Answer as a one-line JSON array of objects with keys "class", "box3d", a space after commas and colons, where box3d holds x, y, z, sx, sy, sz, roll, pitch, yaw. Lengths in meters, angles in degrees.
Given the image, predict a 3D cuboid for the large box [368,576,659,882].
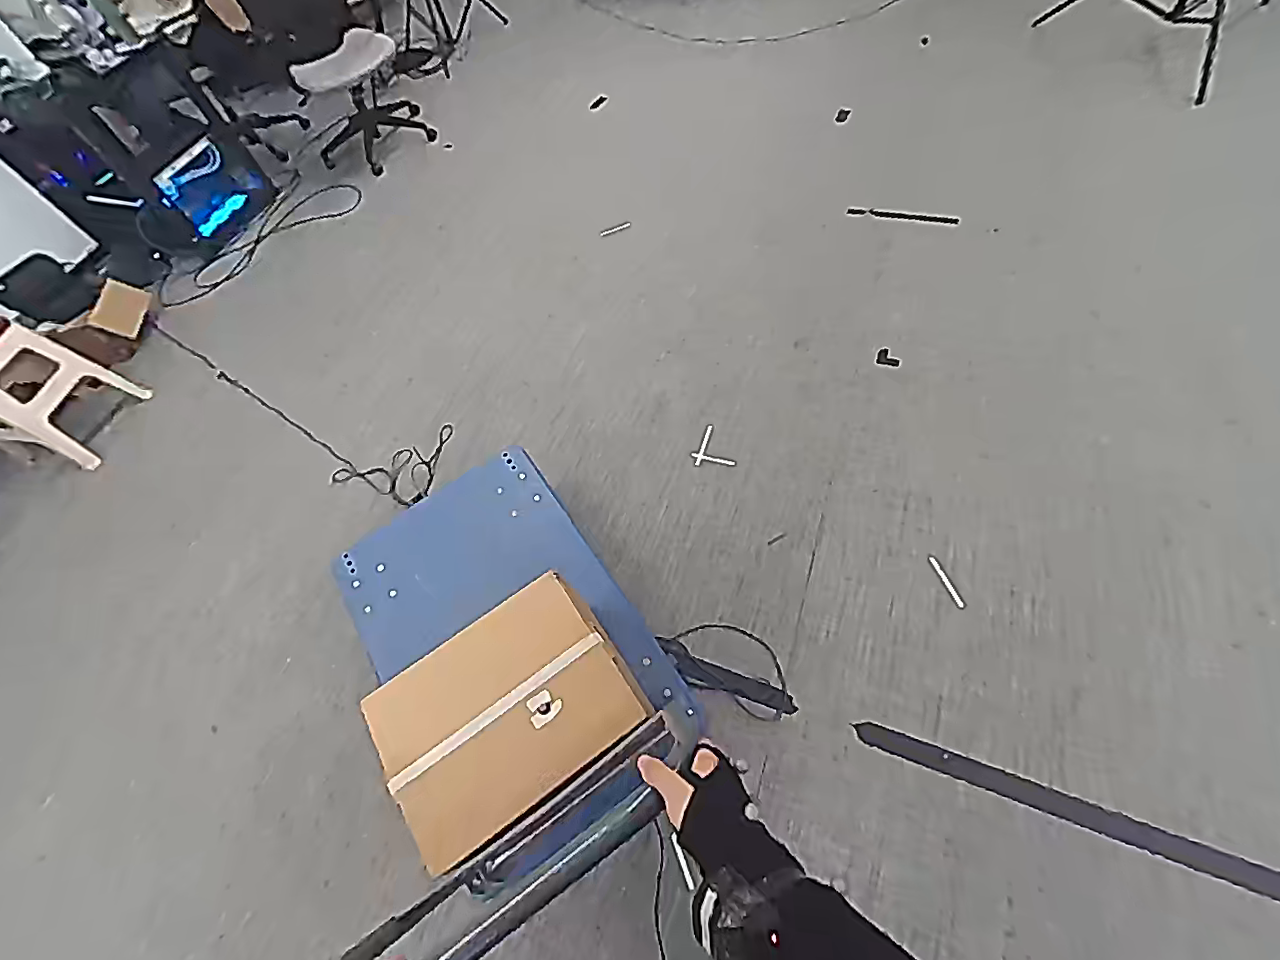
[{"class": "large box", "box3d": [-0.218, 0.464, 1.051, 0.408, 0.320, 0.320, -35, 66, -11]}]
